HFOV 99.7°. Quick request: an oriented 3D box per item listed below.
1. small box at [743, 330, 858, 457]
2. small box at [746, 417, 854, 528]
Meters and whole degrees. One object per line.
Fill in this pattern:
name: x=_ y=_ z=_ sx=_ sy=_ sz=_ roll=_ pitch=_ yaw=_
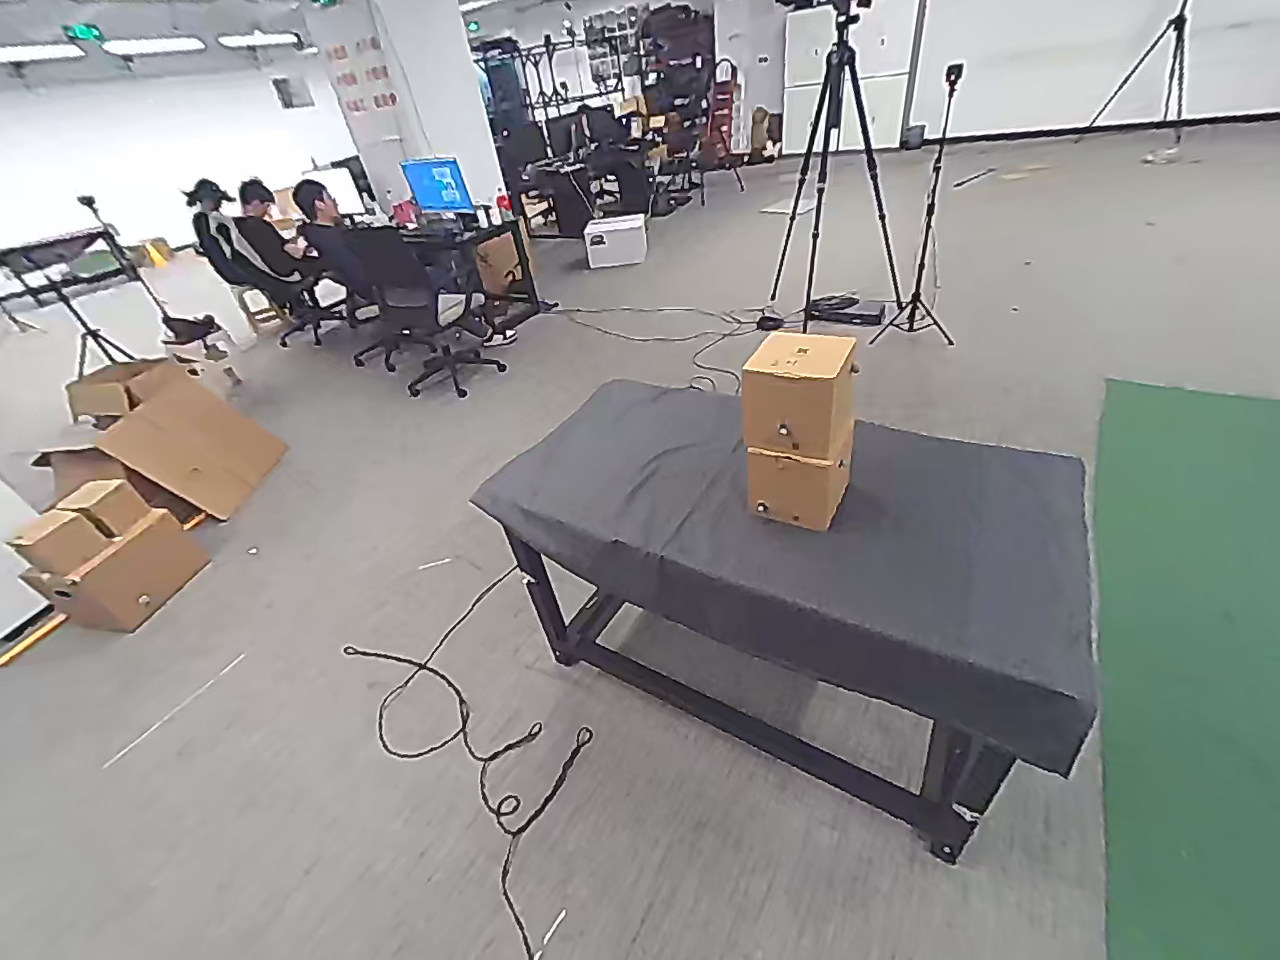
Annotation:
small box: x=0.304 y=-0.168 z=1.032 sx=0.168 sy=0.176 sz=0.179 roll=13 pitch=43 yaw=28
small box: x=0.331 y=-0.027 z=1.115 sx=0.168 sy=0.176 sz=0.179 roll=14 pitch=42 yaw=29
